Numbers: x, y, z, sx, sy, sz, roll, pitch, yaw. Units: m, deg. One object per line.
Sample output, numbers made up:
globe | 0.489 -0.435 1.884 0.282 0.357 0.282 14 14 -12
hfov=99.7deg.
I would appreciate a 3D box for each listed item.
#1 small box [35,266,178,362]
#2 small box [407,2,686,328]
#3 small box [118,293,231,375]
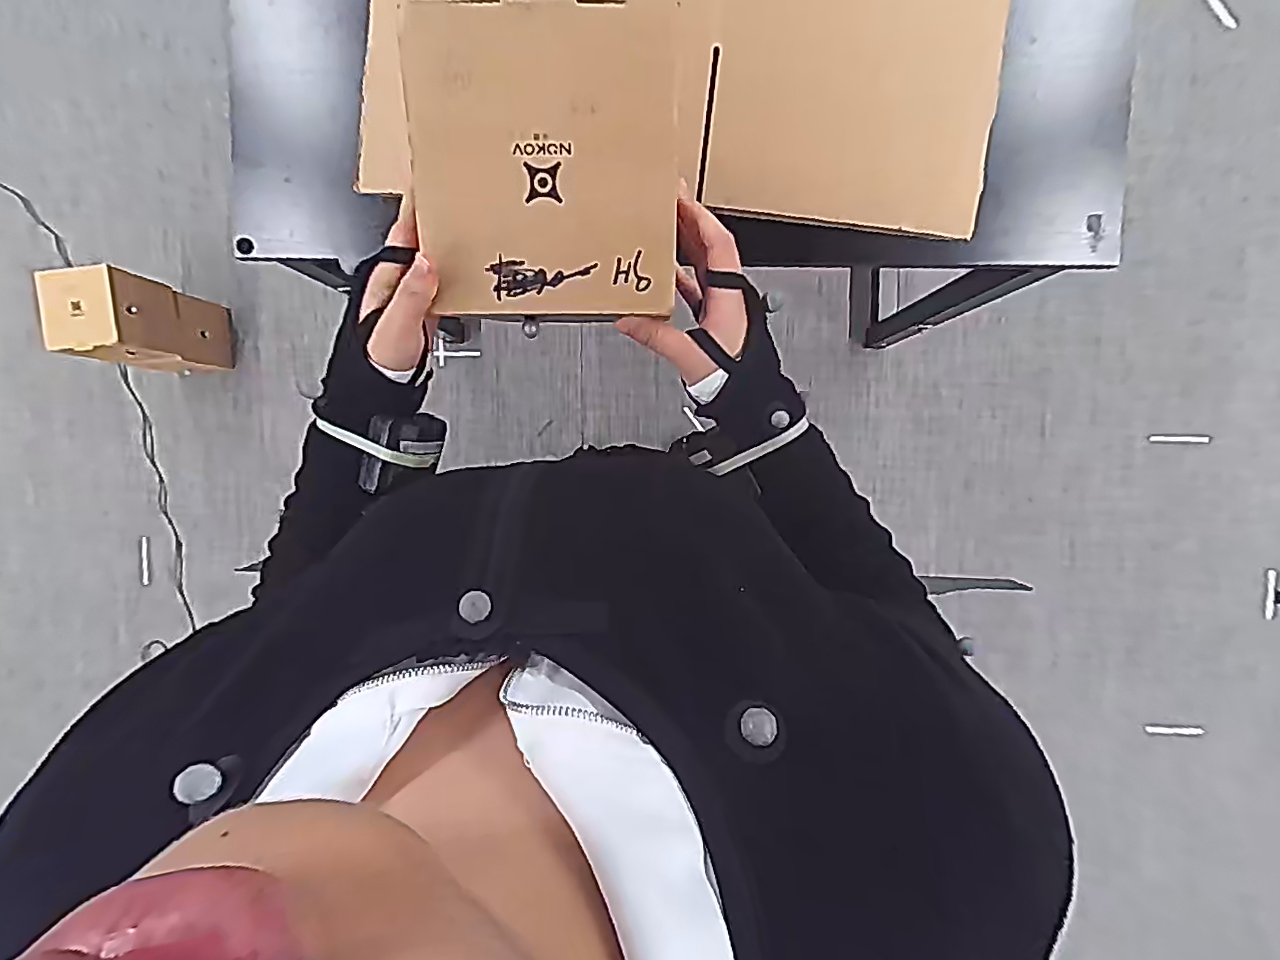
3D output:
small box | -1.226 -0.375 1.257 0.168 0.176 0.179 -6 92 1
small box | -0.056 -0.211 0.411 0.168 0.176 0.179 1 104 1
small box | -1.220 -0.379 1.419 0.168 0.176 0.179 -3 94 2
